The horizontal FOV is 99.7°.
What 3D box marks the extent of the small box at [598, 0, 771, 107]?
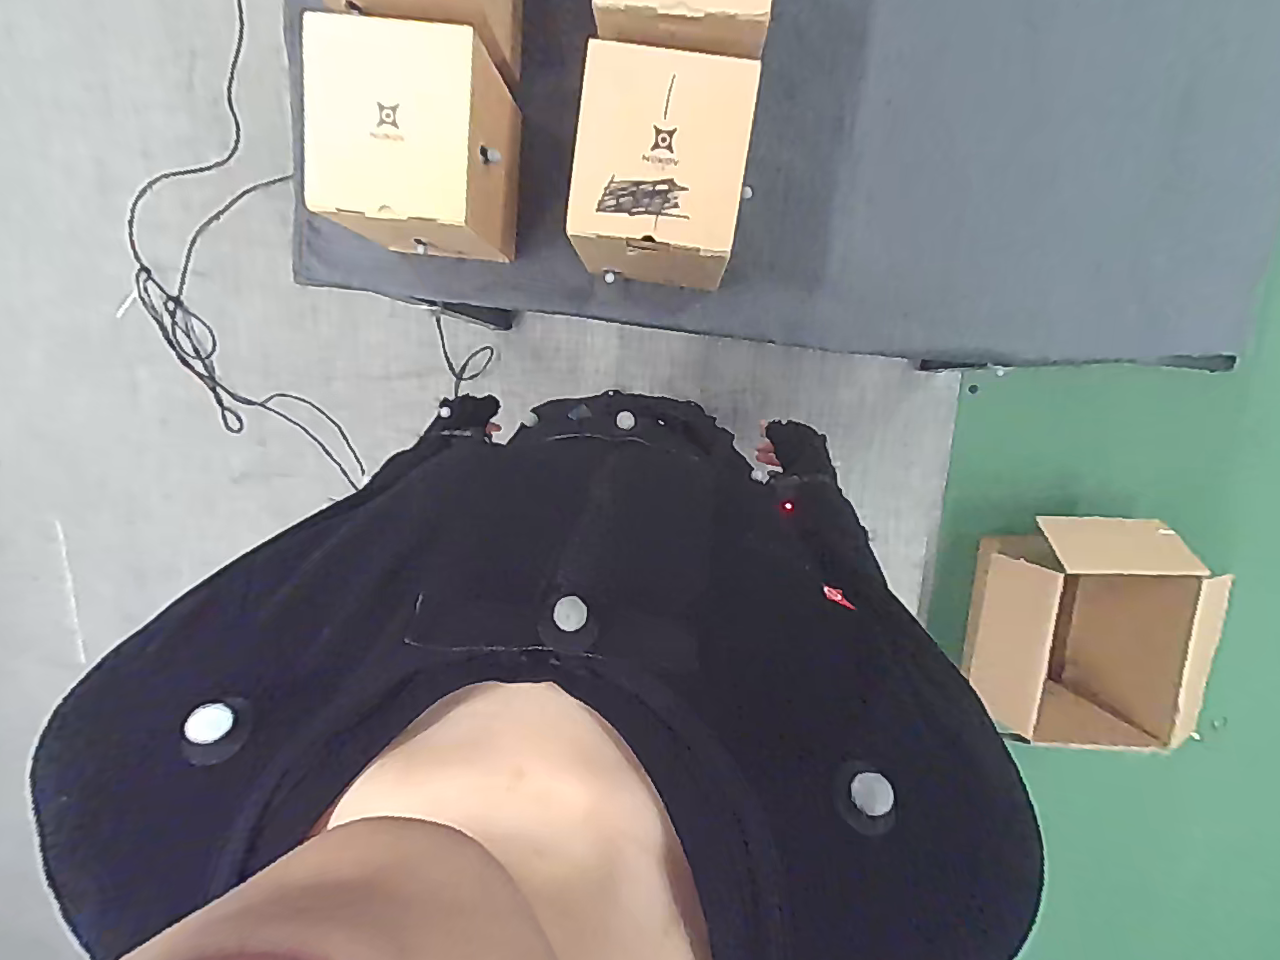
[{"bbox_3d":[0.049,-0.530,0.558,0.168,0.176,0.179,7,100,2],"label":"small box"}]
